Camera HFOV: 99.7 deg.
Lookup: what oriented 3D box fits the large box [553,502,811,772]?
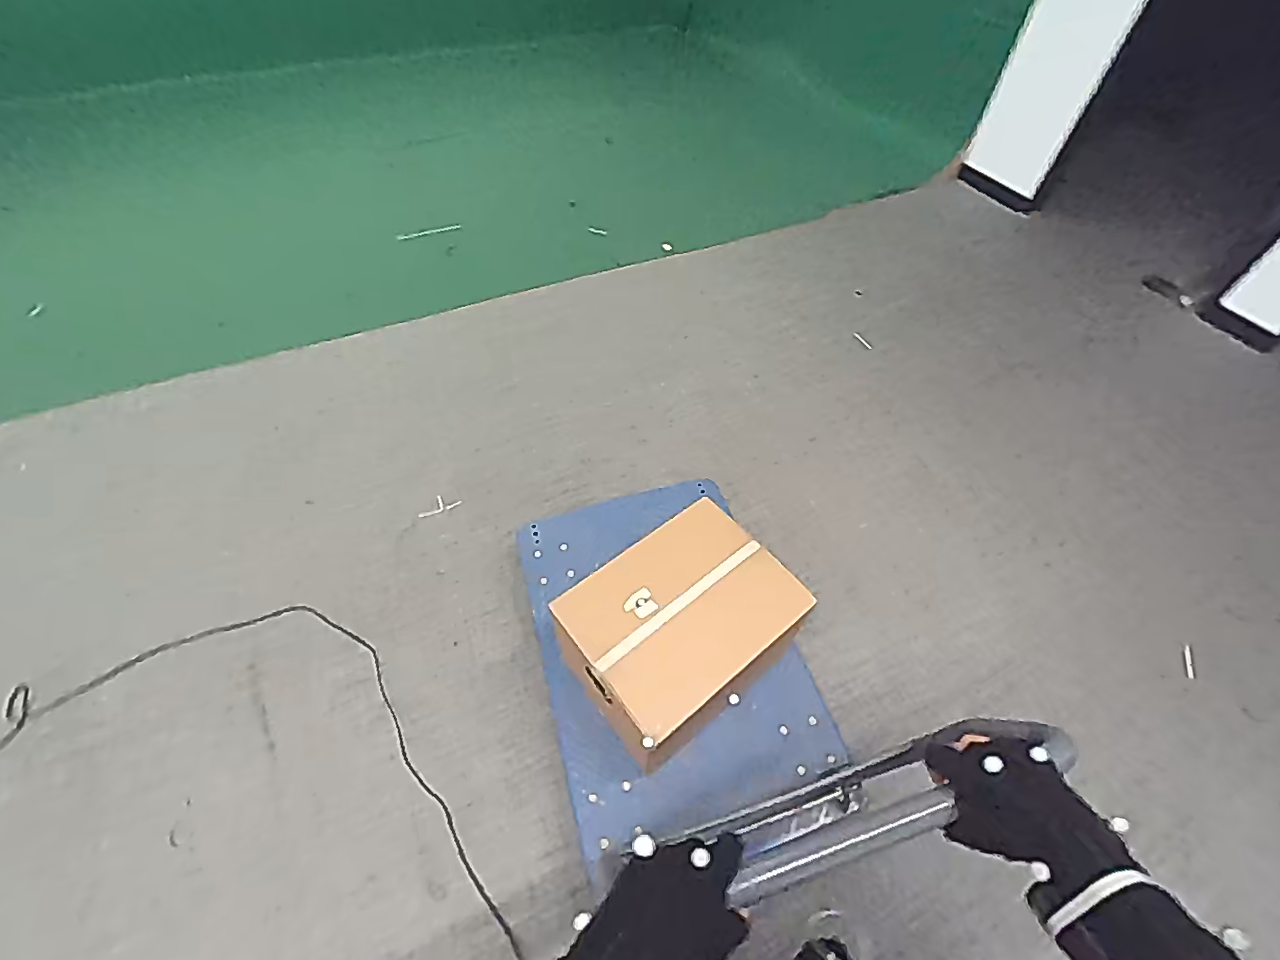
[{"bbox_3d":[0.082,0.327,1.138,0.408,0.320,0.320,-33,60,-22],"label":"large box"}]
